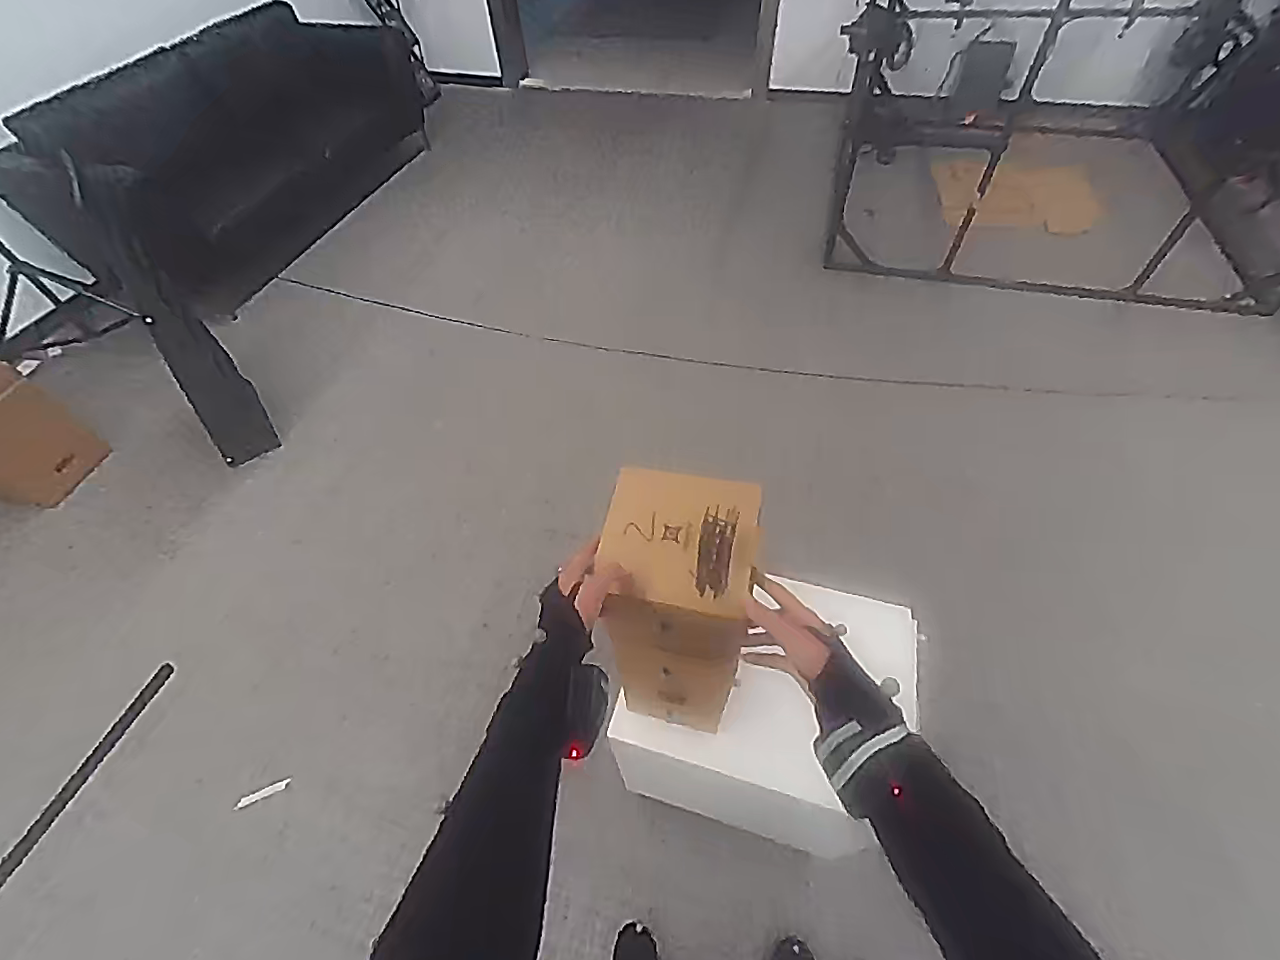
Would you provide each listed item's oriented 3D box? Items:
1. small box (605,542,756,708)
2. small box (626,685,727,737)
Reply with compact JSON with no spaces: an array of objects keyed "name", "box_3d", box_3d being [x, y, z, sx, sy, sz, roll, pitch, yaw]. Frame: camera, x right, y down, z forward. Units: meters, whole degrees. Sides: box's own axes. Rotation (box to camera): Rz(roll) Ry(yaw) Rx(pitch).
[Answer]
[{"name":"small box","box_3d":[0.063,0.220,0.802,0.179,0.176,0.168,11,53,13]},{"name":"small box","box_3d":[0.075,0.317,0.935,0.168,0.176,0.179,11,54,12]}]
